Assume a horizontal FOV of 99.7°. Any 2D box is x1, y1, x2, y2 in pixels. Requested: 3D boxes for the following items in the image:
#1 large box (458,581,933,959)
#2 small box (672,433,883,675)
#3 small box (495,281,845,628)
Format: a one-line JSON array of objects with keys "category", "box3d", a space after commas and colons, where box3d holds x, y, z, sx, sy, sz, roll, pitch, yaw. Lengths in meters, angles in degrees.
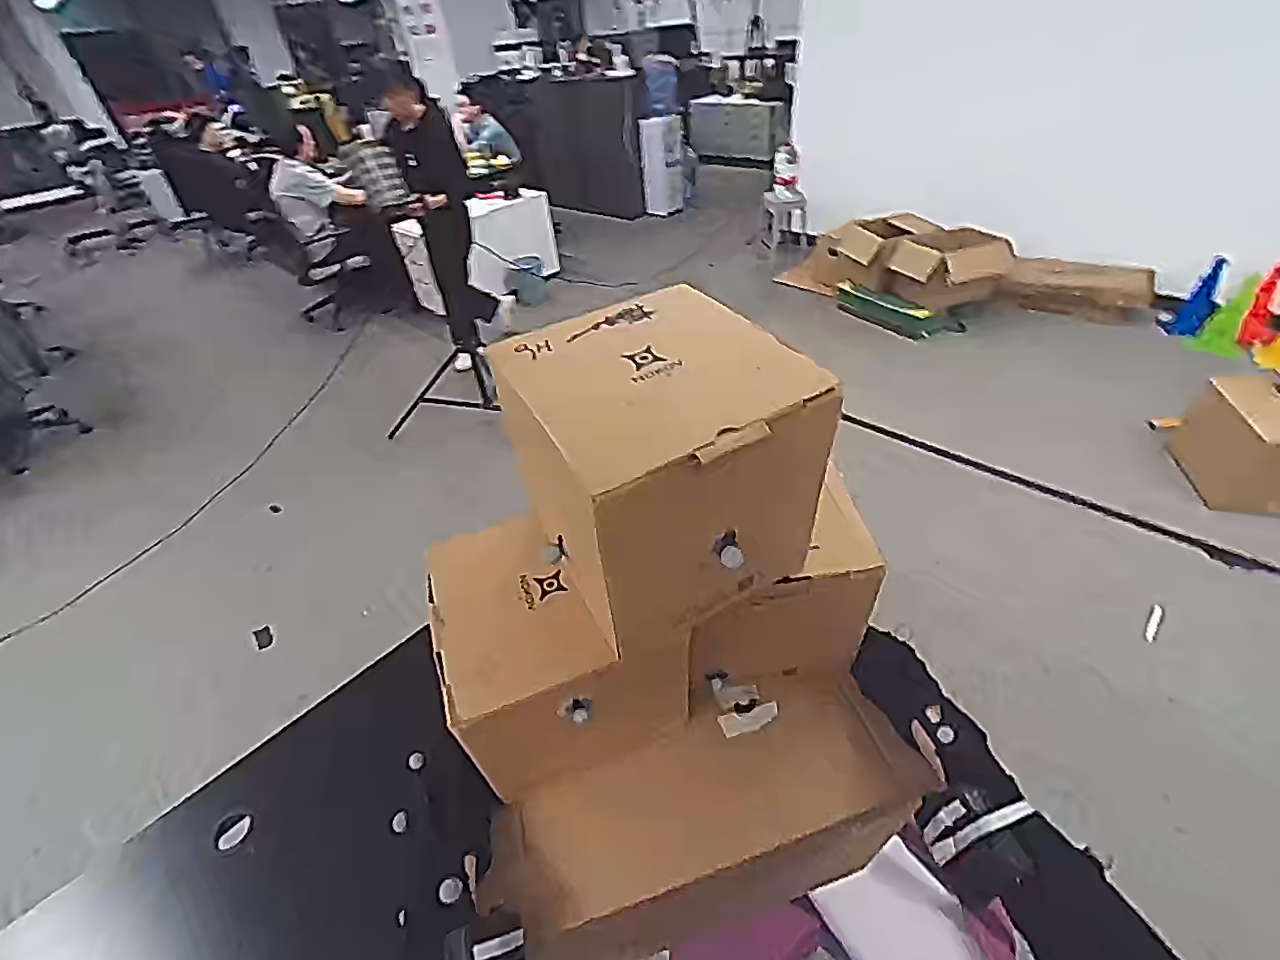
[{"category": "large box", "box3d": [0.035, 0.312, 0.642, 0.408, 0.320, 0.320, -14, 44, -11]}, {"category": "small box", "box3d": [0.110, 0.075, 0.531, 0.168, 0.176, 0.179, -6, 42, 0]}, {"category": "small box", "box3d": [0.015, -0.017, 0.400, 0.168, 0.176, 0.179, -23, 47, -18]}]
